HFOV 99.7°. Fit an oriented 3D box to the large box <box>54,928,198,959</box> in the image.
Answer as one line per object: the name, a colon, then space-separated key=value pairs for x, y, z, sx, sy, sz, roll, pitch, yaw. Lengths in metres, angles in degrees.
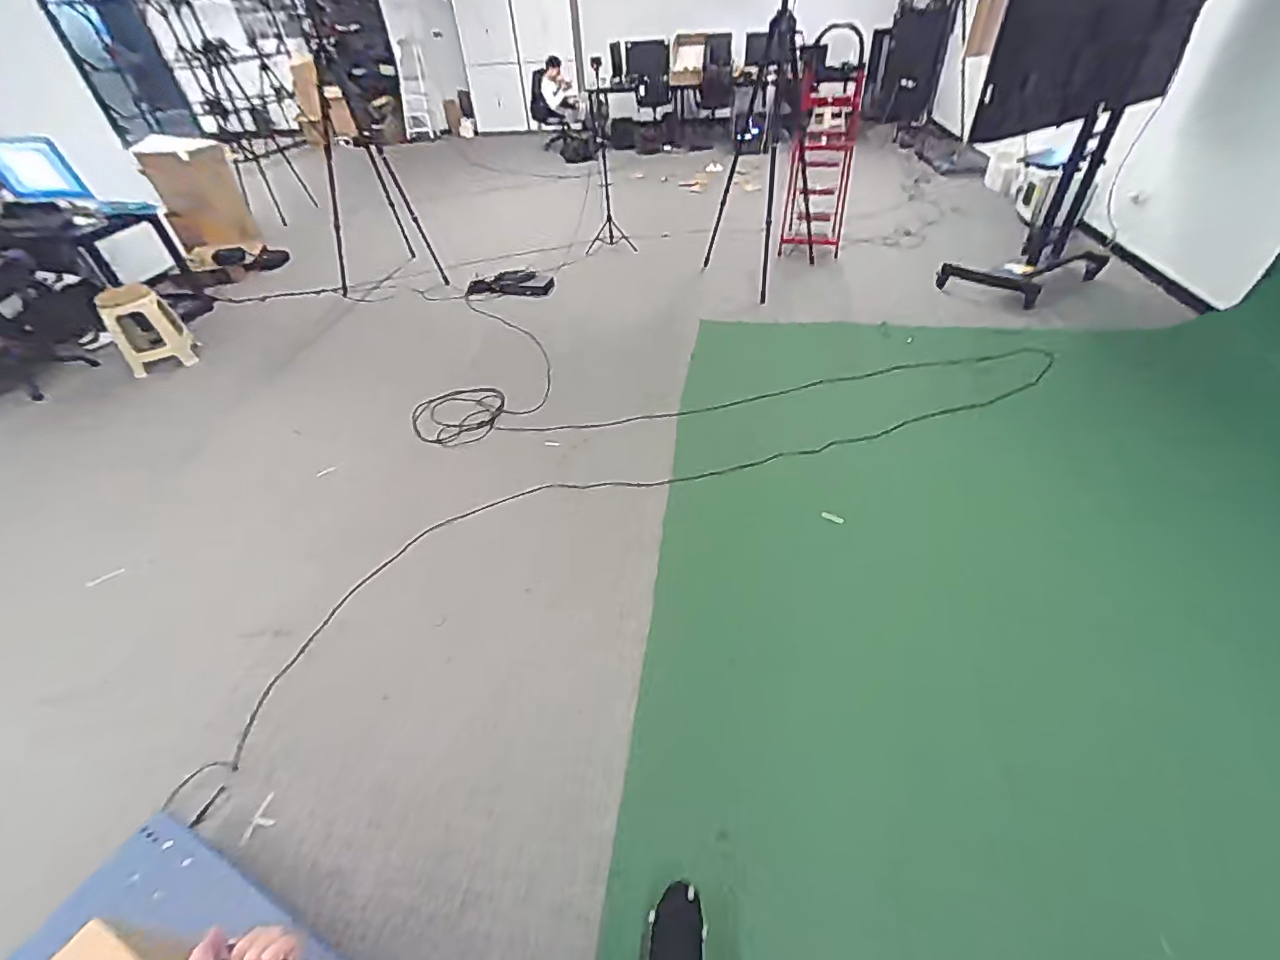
large box: x=-0.832 y=1.023 z=0.861 sx=0.408 sy=0.320 sz=0.320 roll=15 pitch=44 yaw=22
